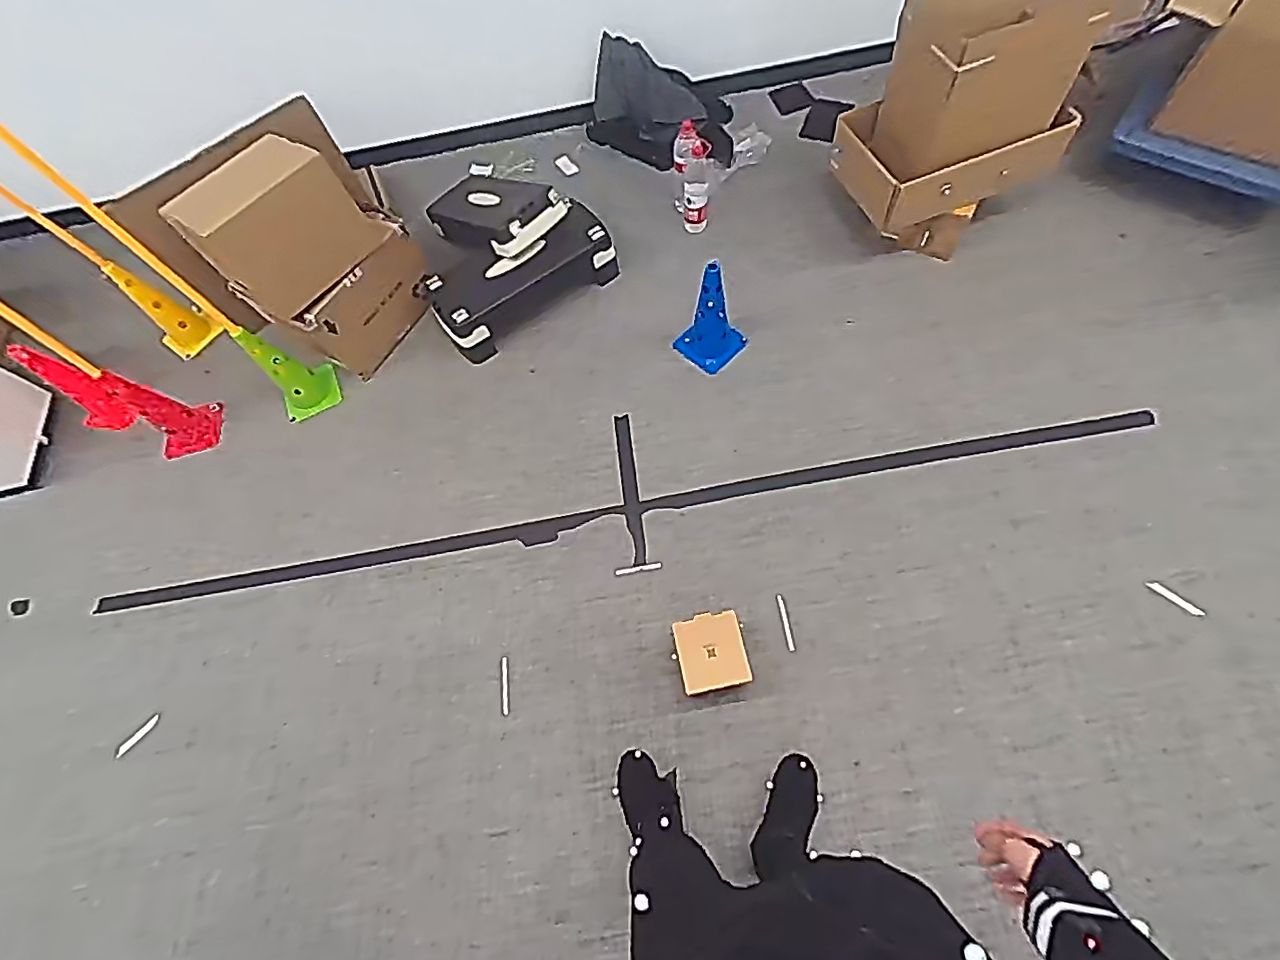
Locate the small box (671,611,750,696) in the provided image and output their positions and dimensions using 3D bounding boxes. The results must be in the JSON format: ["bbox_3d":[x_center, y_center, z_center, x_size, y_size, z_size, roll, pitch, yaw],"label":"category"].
[{"bbox_3d":[0.182,0.456,1.405,0.168,0.176,0.179,-13,65,1],"label":"small box"}]
